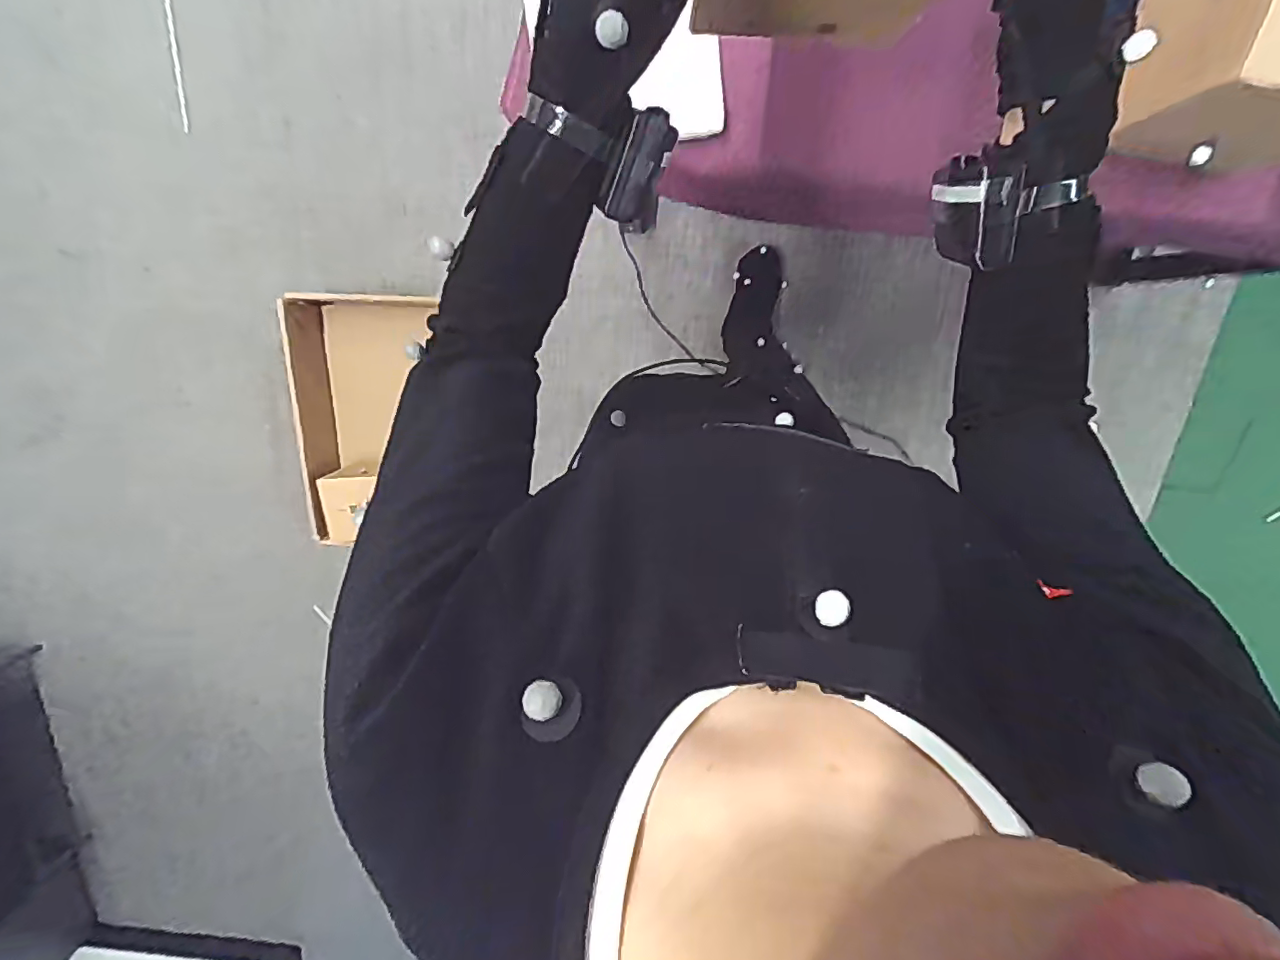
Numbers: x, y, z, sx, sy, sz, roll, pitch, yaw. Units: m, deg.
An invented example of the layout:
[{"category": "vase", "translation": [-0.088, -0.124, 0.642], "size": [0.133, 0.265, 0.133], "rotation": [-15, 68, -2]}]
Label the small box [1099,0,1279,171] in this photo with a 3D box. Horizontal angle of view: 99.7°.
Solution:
[{"category": "small box", "translation": [0.575, -0.407, 0.483], "size": [0.168, 0.176, 0.179], "rotation": [12, 106, 1]}]
